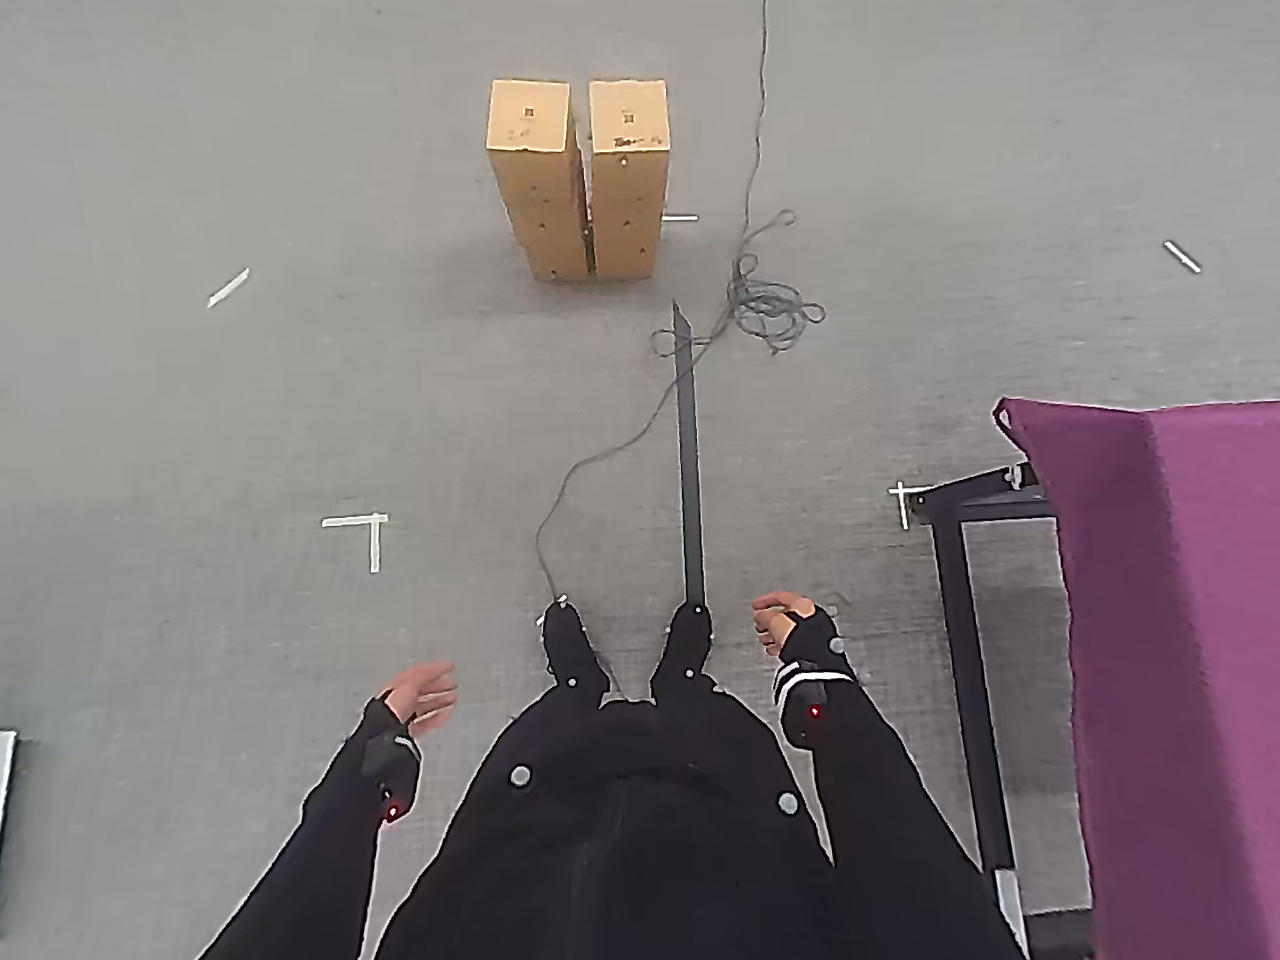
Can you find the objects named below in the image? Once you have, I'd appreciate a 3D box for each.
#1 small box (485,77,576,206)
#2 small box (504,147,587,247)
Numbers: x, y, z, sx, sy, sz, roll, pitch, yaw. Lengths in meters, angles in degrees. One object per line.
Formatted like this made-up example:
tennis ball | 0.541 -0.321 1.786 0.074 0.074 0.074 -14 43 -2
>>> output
small box | -0.234 -0.746 1.203 0.168 0.176 0.179 2 80 0
small box | -0.231 -0.710 1.363 0.179 0.176 0.168 2 80 1
